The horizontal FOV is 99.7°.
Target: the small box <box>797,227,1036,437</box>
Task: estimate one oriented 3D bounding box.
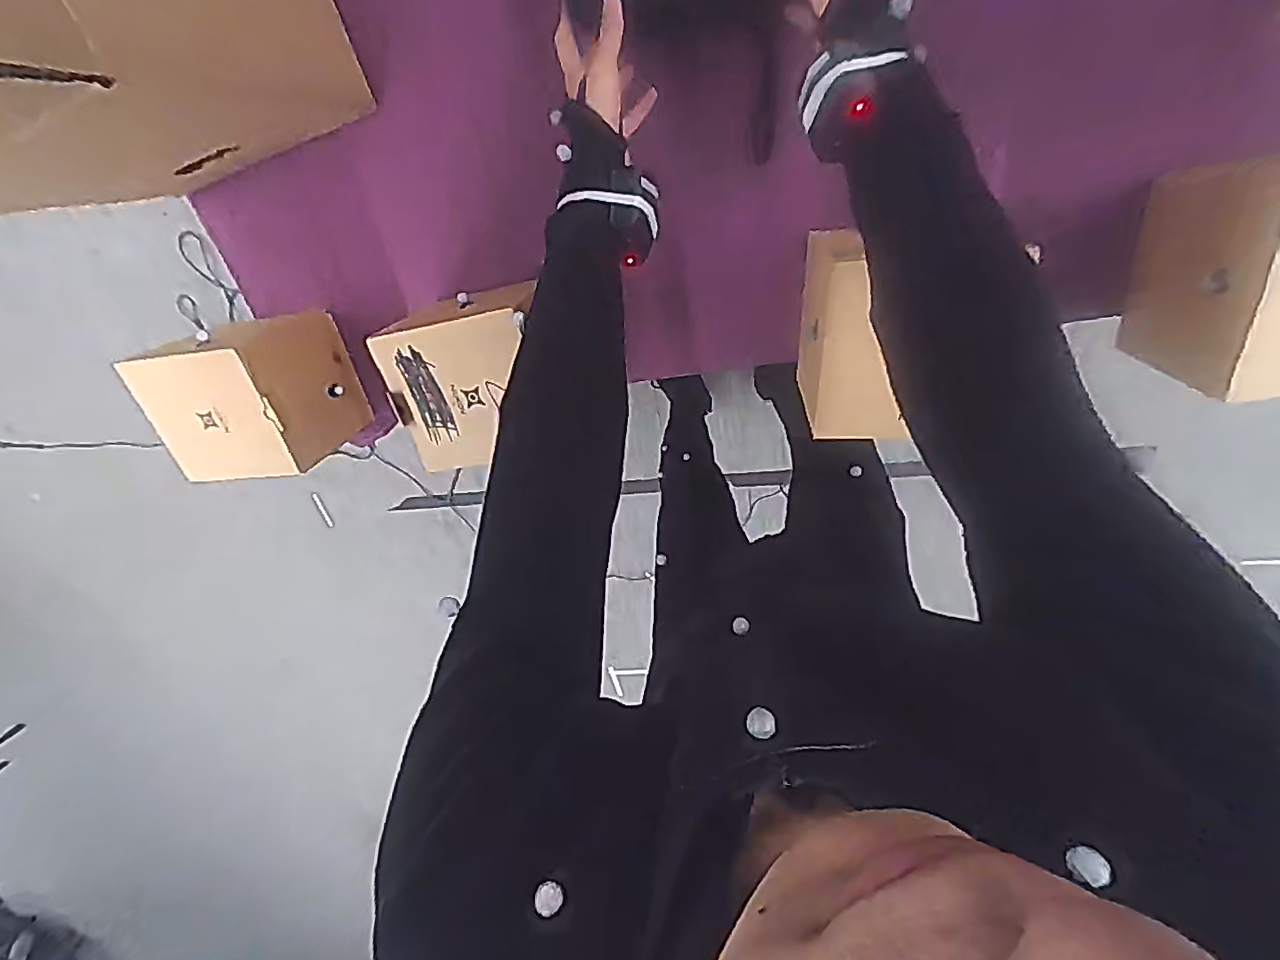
[{"bbox_3d":[0.261,-0.160,0.563,0.168,0.176,0.179,1,123,9],"label":"small box"}]

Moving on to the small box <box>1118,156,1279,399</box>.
[{"bbox_3d":[0.583,-0.192,0.485,0.168,0.176,0.179,-5,120,14],"label":"small box"}]

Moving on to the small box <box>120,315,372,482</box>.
[{"bbox_3d":[-0.505,-0.112,0.724,0.179,0.176,0.168,-4,120,11],"label":"small box"}]
